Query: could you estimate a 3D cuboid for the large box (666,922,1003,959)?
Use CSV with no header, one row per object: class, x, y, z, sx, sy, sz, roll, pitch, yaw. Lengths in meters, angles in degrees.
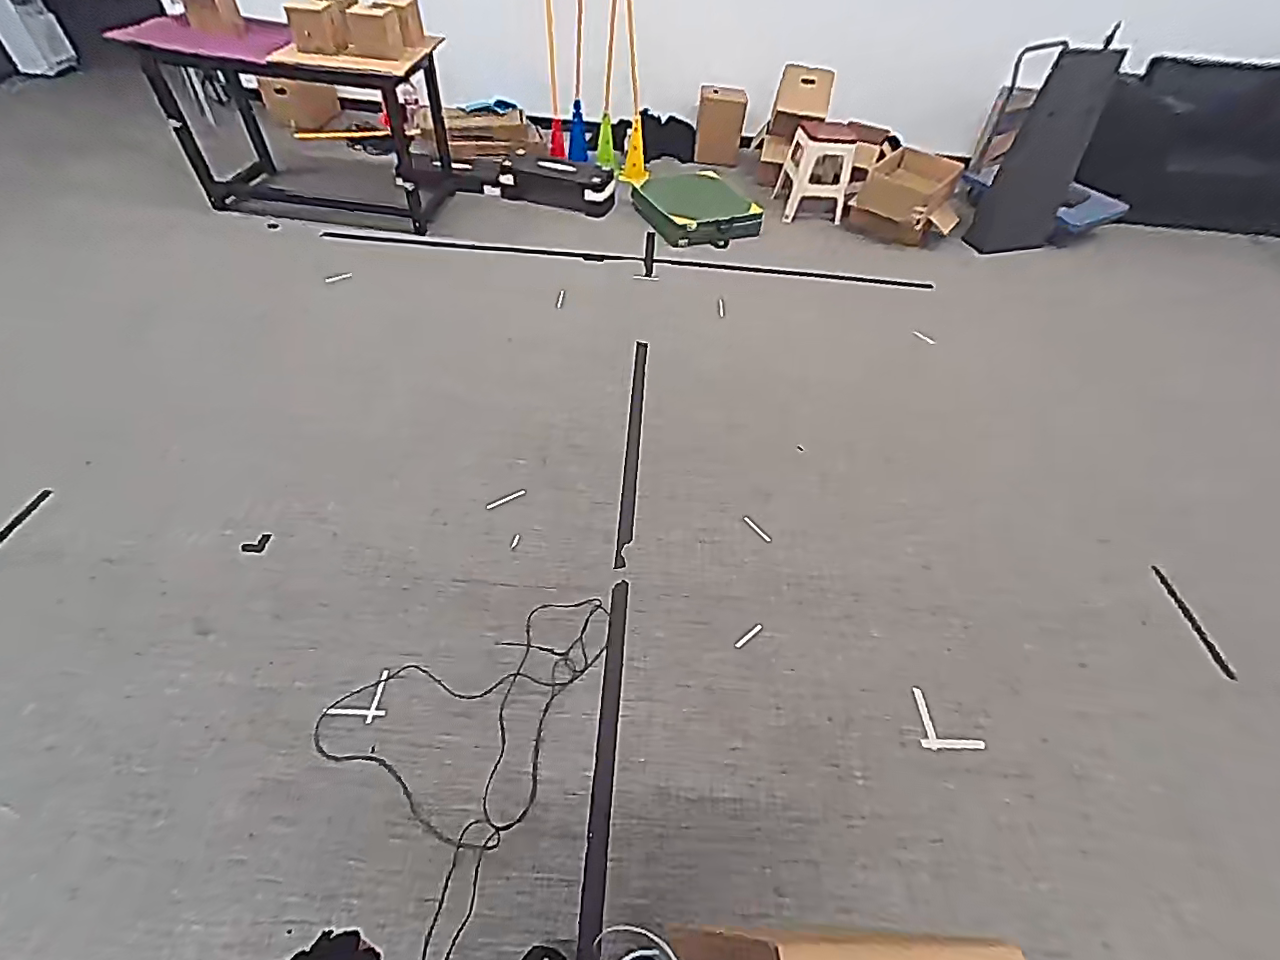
large box,0.240,0.757,0.672,0.320,0.408,0.320,9,52,-11
